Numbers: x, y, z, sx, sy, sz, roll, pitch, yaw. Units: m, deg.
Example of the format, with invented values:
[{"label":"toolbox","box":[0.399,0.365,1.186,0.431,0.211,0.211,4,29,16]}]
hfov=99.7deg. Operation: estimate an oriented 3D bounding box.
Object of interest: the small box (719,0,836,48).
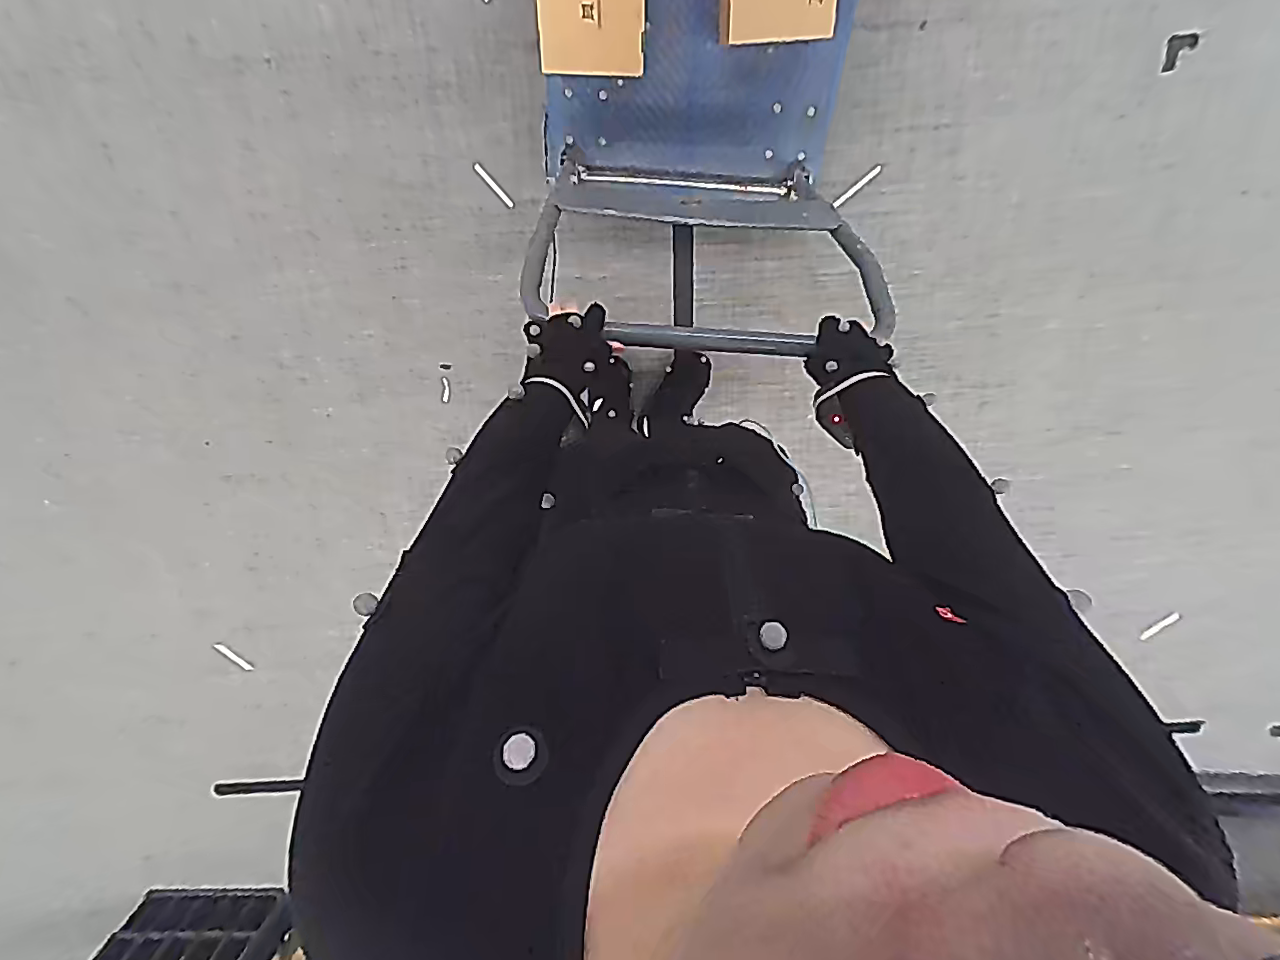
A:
[{"label":"small box","box":[0.228,-0.838,0.911,0.179,0.176,0.168,-2,129,2]}]

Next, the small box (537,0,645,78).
[{"label":"small box","box":[-0.081,-0.806,0.942,0.179,0.176,0.168,0,129,-1]}]
